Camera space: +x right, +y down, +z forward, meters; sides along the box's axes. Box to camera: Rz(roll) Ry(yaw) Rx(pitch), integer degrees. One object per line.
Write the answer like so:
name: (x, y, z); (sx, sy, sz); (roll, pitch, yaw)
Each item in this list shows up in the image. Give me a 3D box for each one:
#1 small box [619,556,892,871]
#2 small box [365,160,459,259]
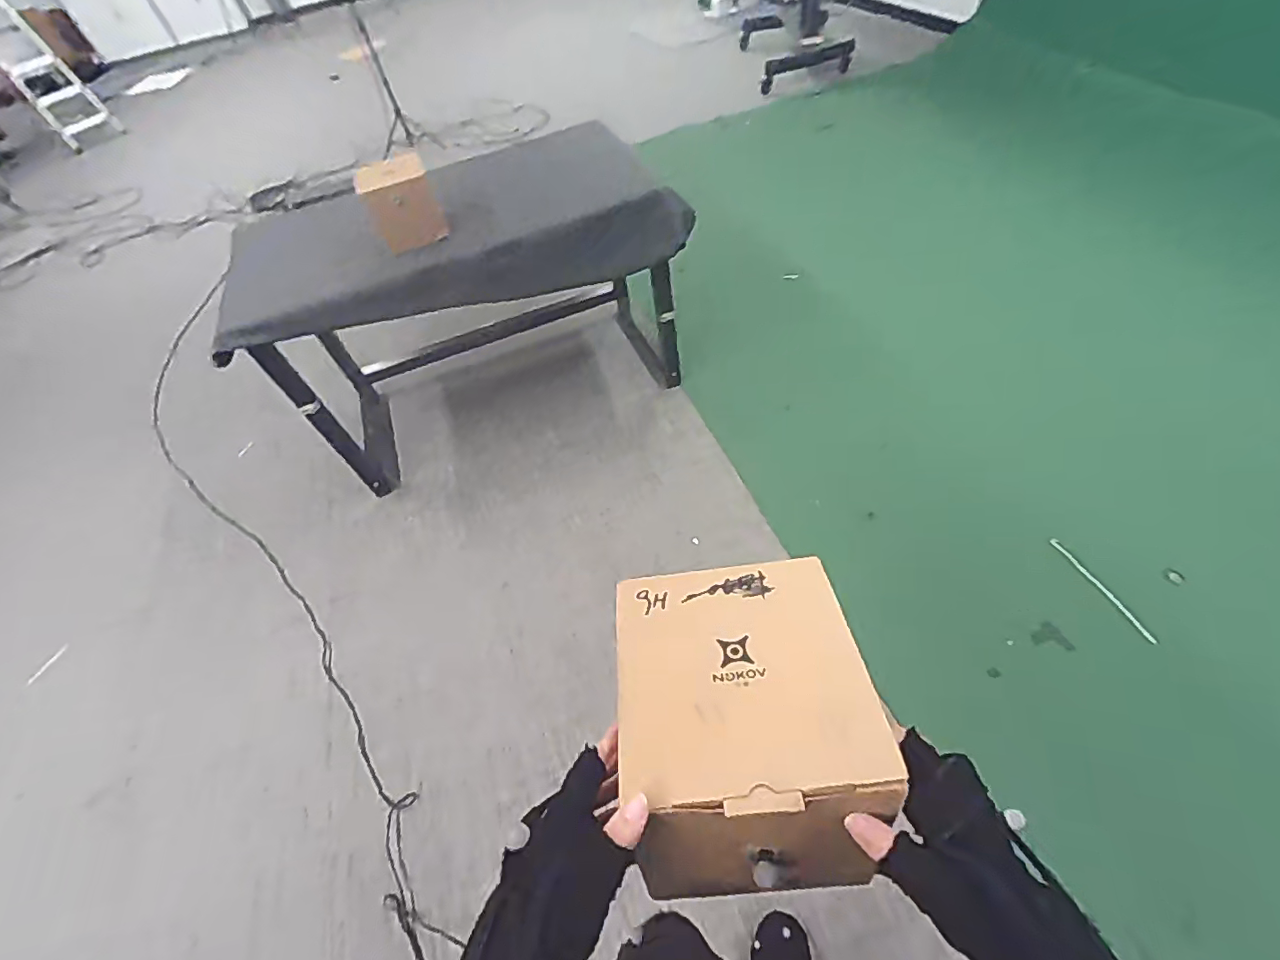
small box: (0.077, 0.189, 0.433); (0.168, 0.176, 0.179); (-7, 39, 3)
small box: (-0.614, -0.726, 1.460); (0.179, 0.176, 0.168); (-22, 53, -8)
